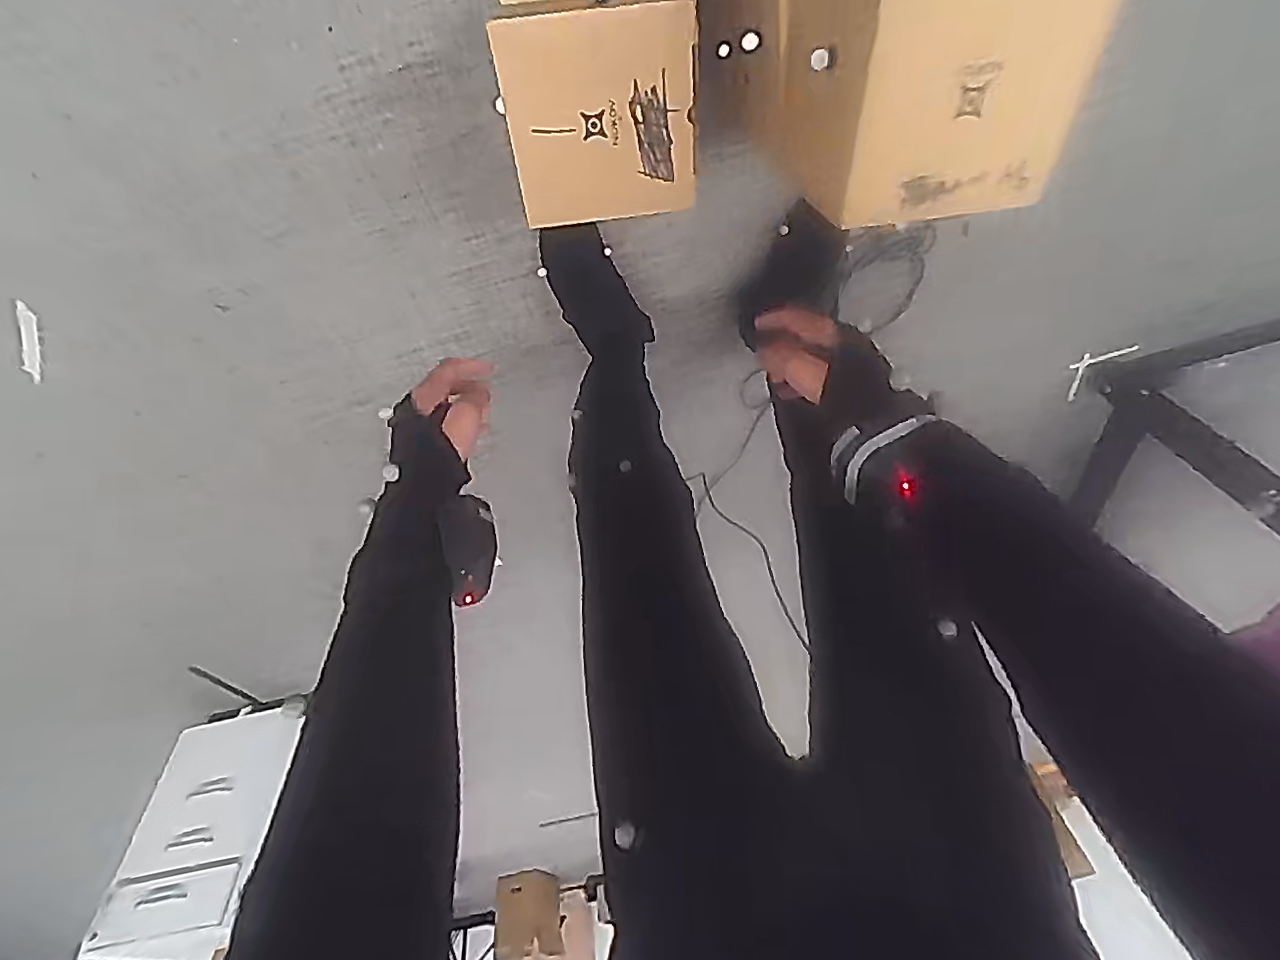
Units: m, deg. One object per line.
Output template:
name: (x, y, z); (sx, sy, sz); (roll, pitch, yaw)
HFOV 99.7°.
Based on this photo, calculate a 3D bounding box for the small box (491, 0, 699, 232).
small box: (-0.043, -0.377, 0.553); (0.179, 0.176, 0.168); (-8, 134, -2)

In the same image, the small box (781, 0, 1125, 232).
small box: (0.222, -0.322, 0.429); (0.168, 0.176, 0.179); (-8, 133, -2)
